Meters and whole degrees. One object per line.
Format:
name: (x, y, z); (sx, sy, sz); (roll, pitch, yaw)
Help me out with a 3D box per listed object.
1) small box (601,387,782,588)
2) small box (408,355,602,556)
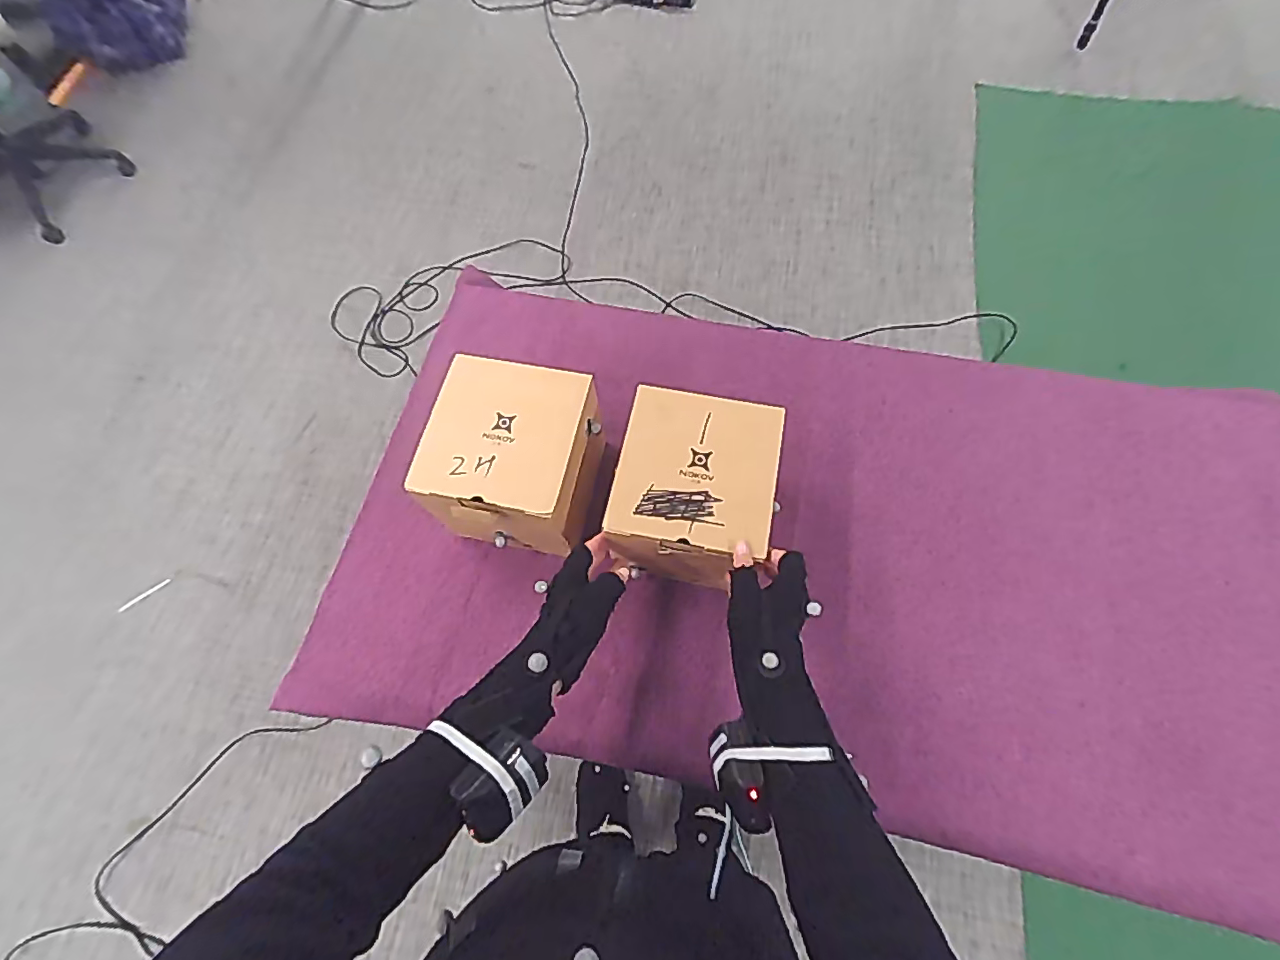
small box: (0.061, 0.018, 0.641); (0.168, 0.176, 0.179); (11, 68, 7)
small box: (-0.147, -0.023, 0.666); (0.168, 0.176, 0.179); (10, 69, 7)
